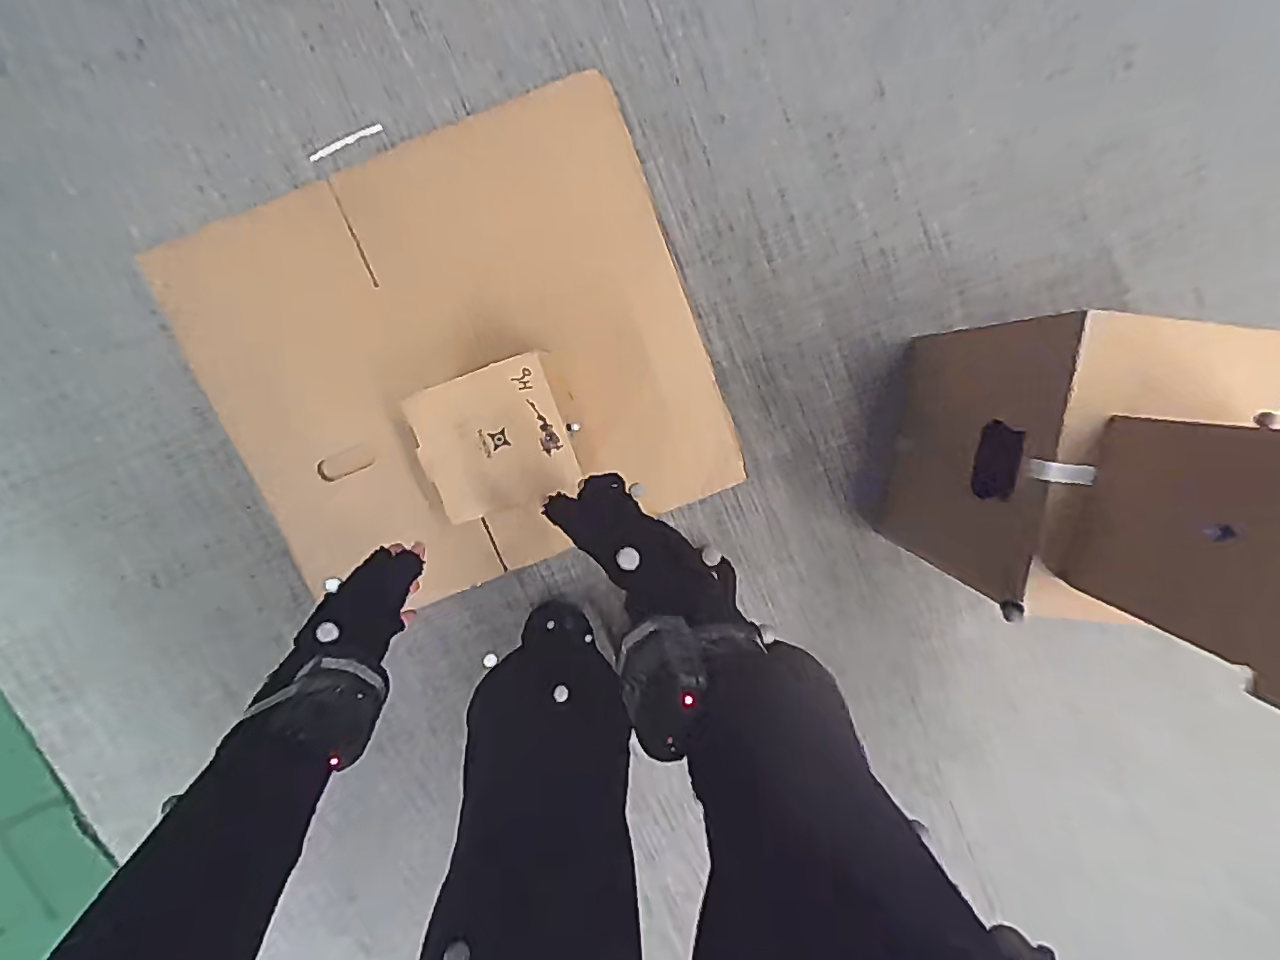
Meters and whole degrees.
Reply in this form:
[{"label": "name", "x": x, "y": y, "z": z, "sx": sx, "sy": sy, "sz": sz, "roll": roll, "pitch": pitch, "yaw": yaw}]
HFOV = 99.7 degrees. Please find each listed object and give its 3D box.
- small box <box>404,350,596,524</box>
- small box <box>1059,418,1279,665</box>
[{"label": "small box", "x": -0.174, "y": -0.059, "z": 0.729, "sx": 0.179, "sy": 0.176, "sz": 0.168, "roll": -22, "pitch": 97, "yaw": 4}, {"label": "small box", "x": 0.518, "y": 0.047, "z": 0.469, "sx": 0.168, "sy": 0.176, "sz": 0.179, "roll": 8, "pitch": 102, "yaw": -3}]
